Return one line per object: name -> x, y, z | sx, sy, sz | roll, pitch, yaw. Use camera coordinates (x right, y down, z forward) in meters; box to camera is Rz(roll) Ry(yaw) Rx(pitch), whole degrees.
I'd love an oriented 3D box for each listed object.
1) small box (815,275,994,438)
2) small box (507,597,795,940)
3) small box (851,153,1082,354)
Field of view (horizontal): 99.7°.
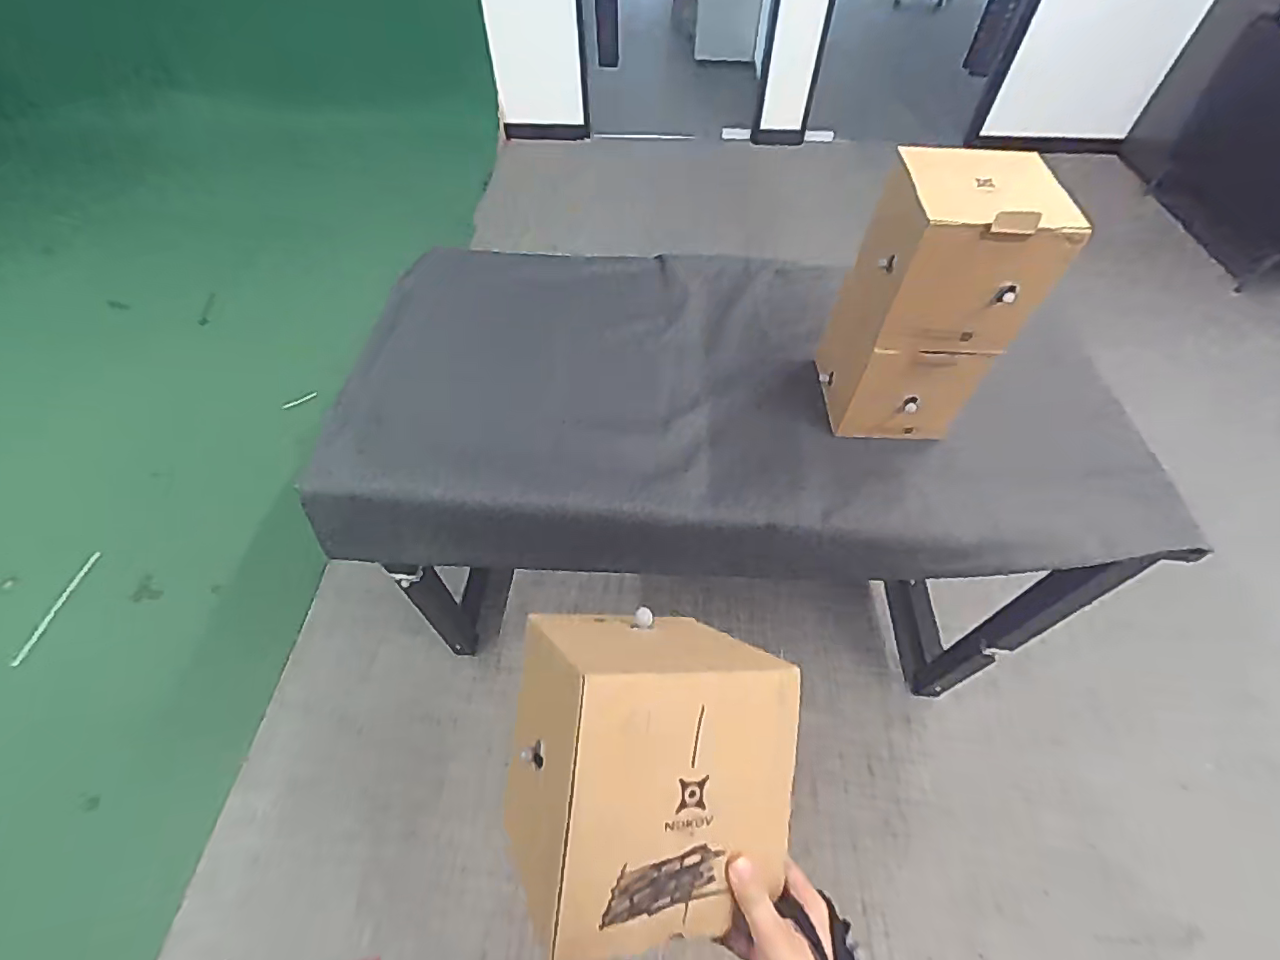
small box -> 0.372, -0.177, 0.798 | 0.168, 0.176, 0.179 | 2, 54, 1
small box -> -0.004, 0.200, 0.429 | 0.168, 0.176, 0.179 | 8, 86, -23
small box -> 0.377, -0.275, 0.667 | 0.168, 0.176, 0.179 | 5, 53, 2
